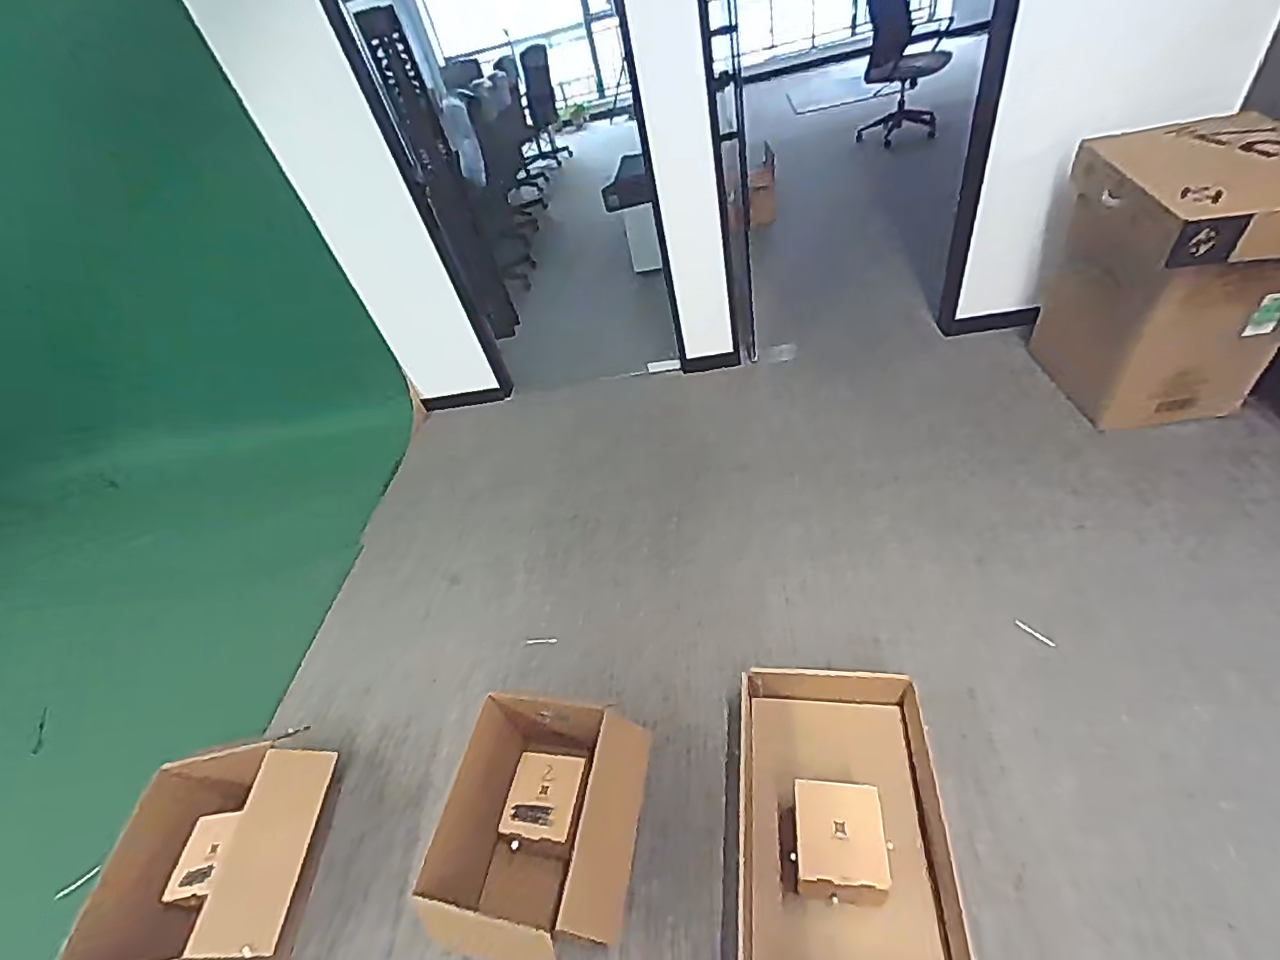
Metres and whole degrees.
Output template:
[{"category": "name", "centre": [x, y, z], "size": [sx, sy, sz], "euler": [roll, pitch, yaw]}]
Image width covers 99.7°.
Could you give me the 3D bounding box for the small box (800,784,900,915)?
[{"category": "small box", "centre": [0.416, 0.750, 1.101], "size": [0.168, 0.176, 0.179], "euler": [-3, 43, 14]}]
